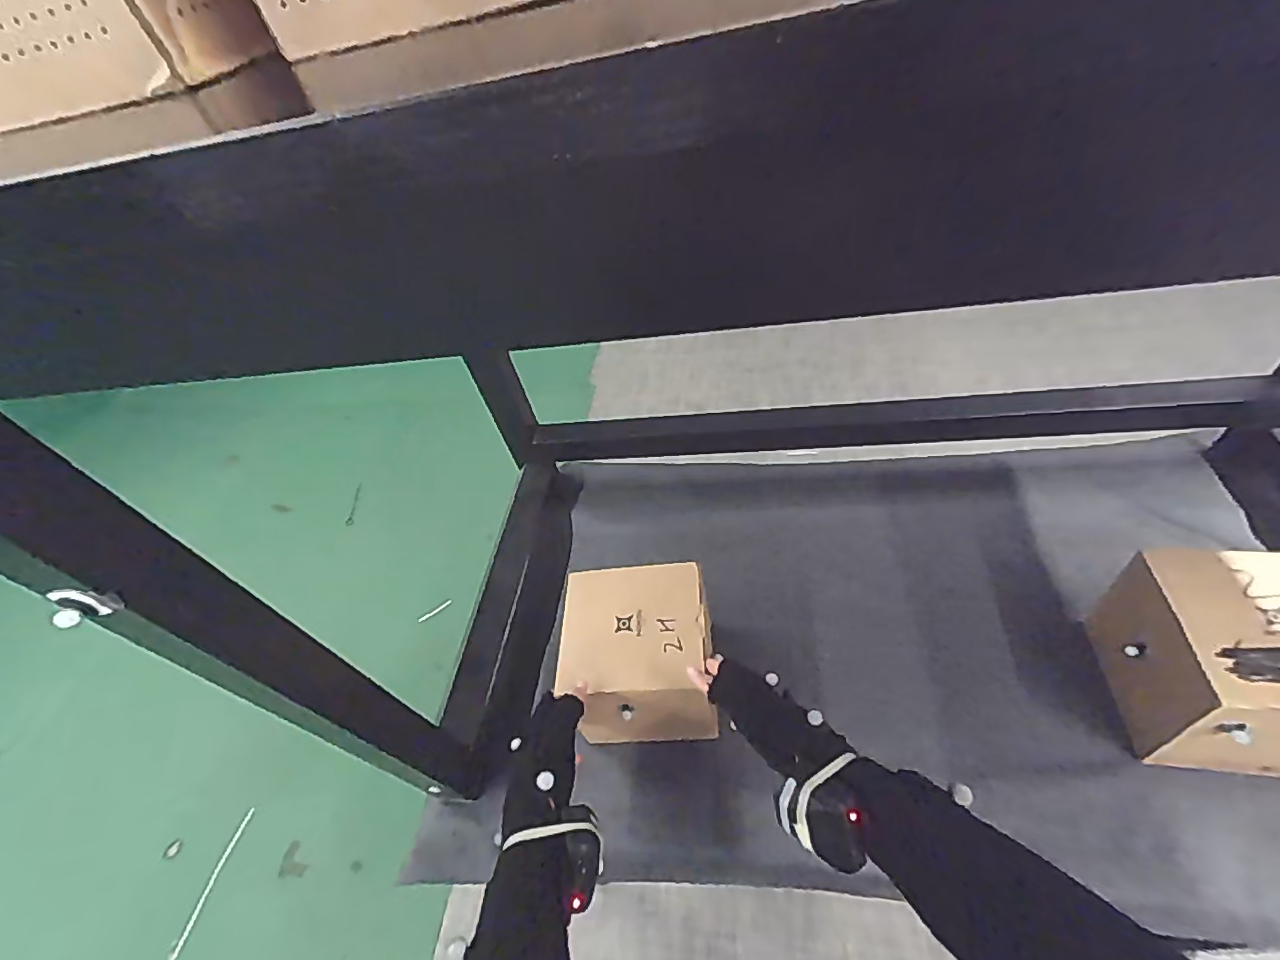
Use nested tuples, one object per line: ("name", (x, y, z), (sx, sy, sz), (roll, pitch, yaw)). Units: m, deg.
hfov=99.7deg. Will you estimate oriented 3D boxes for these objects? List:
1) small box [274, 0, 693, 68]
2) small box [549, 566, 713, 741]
("small box", (-0.041, -0.245, 0.156), (0.168, 0.176, 0.179), (-3, 47, 11))
("small box", (-0.002, 0.233, 0.713), (0.179, 0.176, 0.168), (-5, 47, 8))
